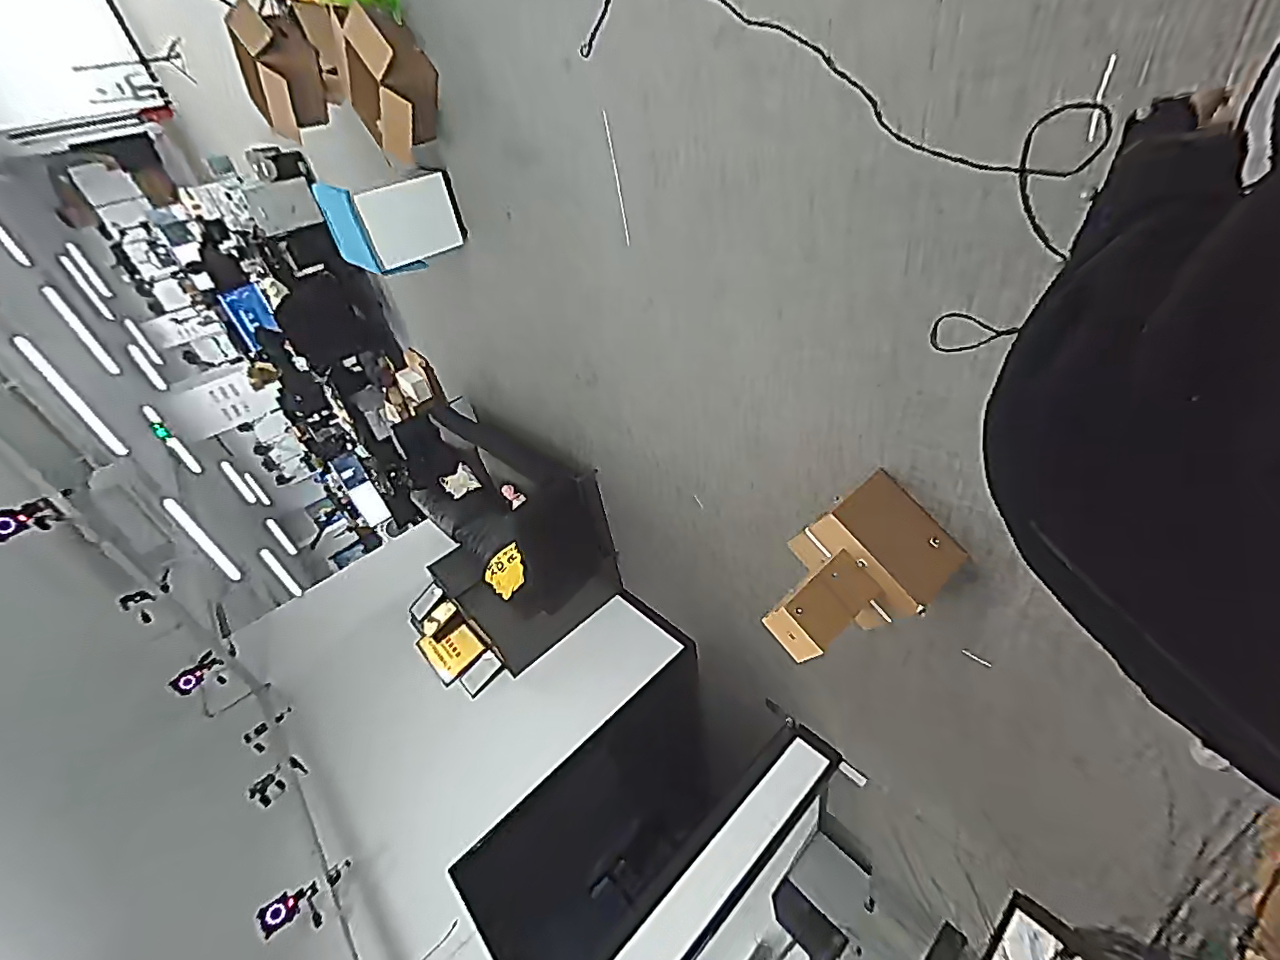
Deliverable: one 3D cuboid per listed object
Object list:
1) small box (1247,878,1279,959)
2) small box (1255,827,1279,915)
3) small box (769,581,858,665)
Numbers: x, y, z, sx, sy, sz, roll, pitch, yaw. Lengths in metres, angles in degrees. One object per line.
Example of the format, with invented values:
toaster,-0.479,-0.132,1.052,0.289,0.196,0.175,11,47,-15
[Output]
small box,1.079,0.773,0.836,0.168,0.176,0.179,20,134,50
small box,1.198,0.688,0.912,0.168,0.176,0.179,21,136,48
small box,0.550,0.452,1.709,0.179,0.176,0.168,50,152,15
